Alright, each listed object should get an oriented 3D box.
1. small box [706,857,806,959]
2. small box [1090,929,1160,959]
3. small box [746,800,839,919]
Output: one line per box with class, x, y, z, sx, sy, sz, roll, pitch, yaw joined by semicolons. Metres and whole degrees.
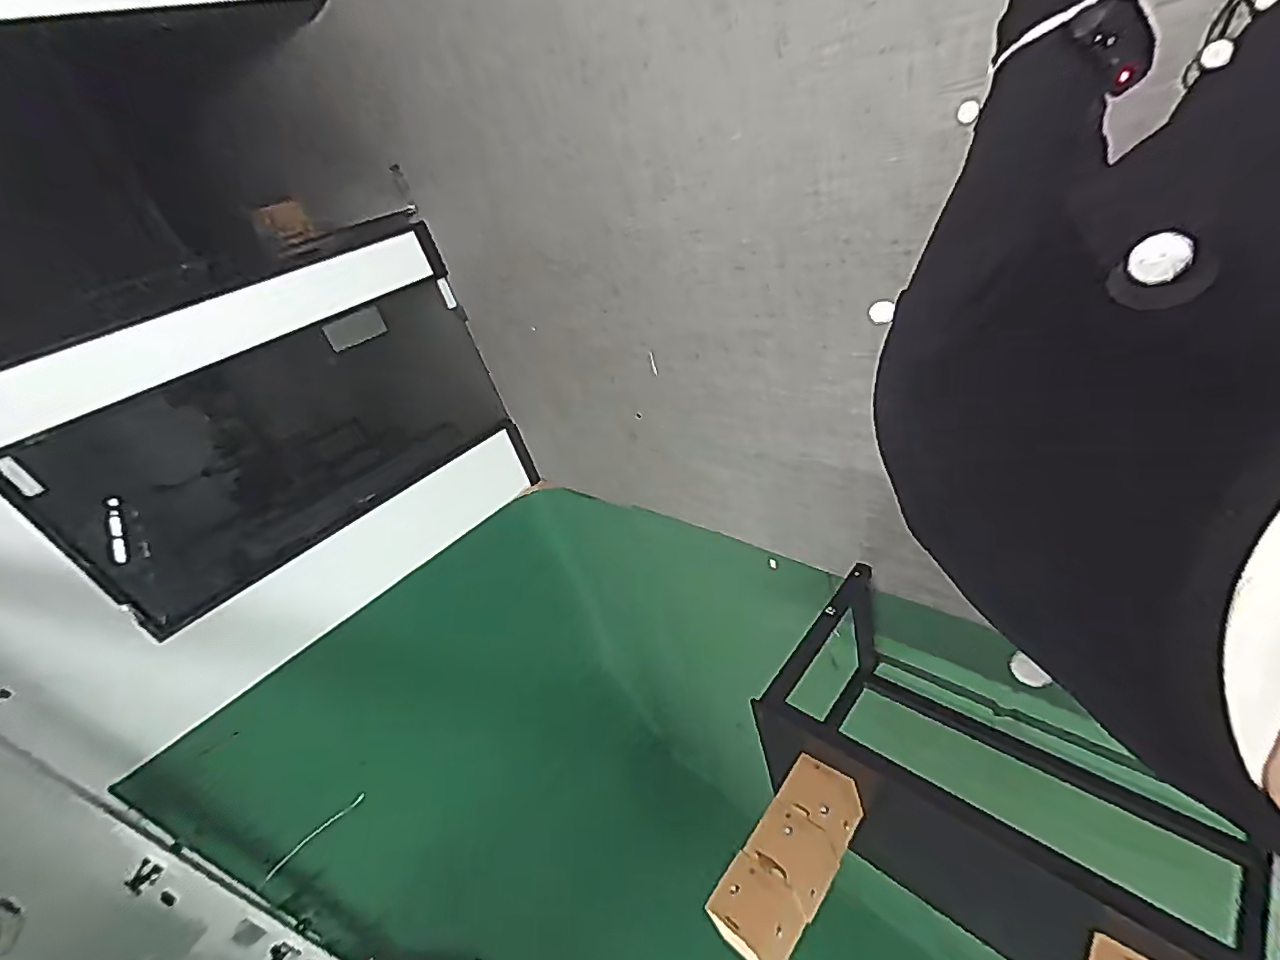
small box;0.303;1.135;1.402;0.168;0.176;0.179;8;130;48
small box;1.023;1.087;1.103;0.168;0.176;0.179;8;128;49
small box;0.426;1.037;1.490;0.168;0.176;0.179;7;129;48
